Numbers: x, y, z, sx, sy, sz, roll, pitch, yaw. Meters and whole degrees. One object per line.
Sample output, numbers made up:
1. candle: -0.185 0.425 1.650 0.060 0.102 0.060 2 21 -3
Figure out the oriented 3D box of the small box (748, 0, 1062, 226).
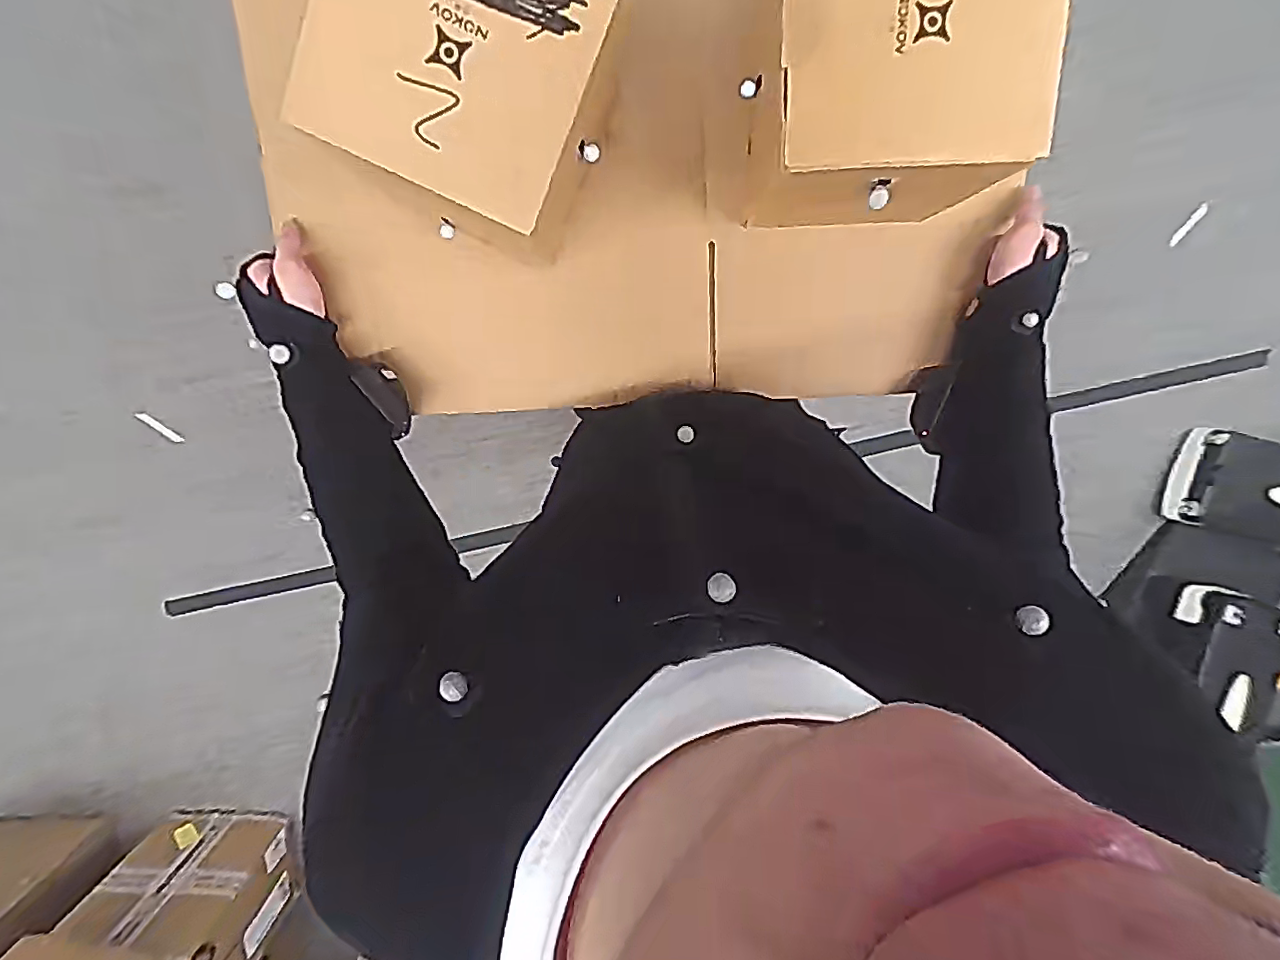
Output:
1. small box: 0.191 -0.312 0.435 0.179 0.176 0.168 -1 103 3
